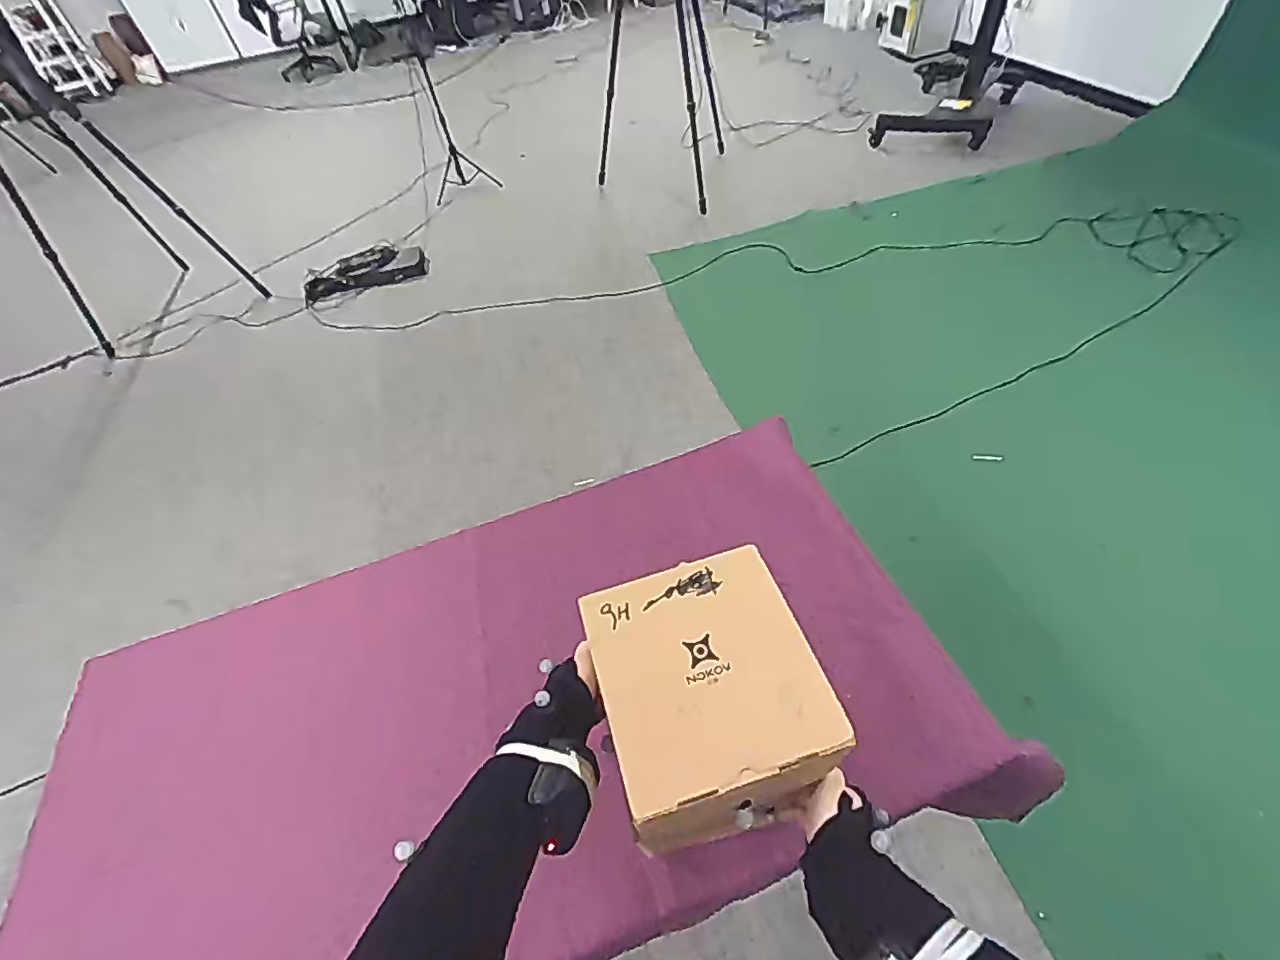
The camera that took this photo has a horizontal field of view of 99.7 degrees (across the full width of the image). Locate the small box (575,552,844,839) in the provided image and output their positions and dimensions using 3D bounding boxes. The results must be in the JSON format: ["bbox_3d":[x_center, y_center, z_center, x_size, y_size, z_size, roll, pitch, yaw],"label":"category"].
[{"bbox_3d":[0.052,0.198,0.482,0.168,0.176,0.179,-16,52,-6],"label":"small box"}]

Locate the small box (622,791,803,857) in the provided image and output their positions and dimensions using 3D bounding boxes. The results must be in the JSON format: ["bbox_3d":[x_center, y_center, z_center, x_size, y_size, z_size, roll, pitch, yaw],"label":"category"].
[{"bbox_3d":[0.063,0.302,0.608,0.179,0.176,0.168,-13,50,-4],"label":"small box"}]
